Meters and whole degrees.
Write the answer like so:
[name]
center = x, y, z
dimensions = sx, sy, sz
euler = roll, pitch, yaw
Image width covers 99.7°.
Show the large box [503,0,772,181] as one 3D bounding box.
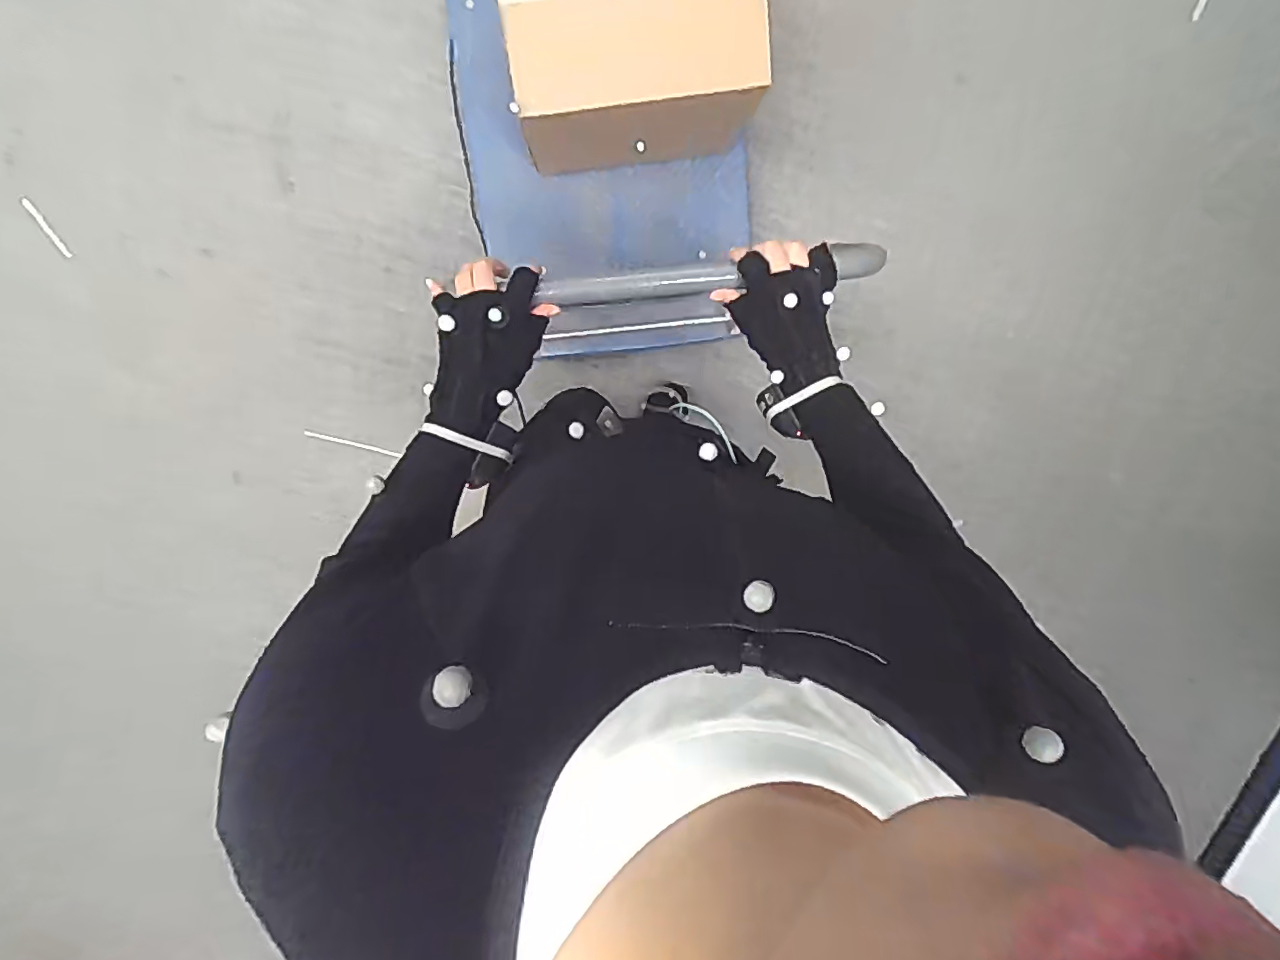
[large box]
center = -0.014, -0.772, 0.968
dimensions = 0.408, 0.320, 0.320
euler = -9, 104, -1
